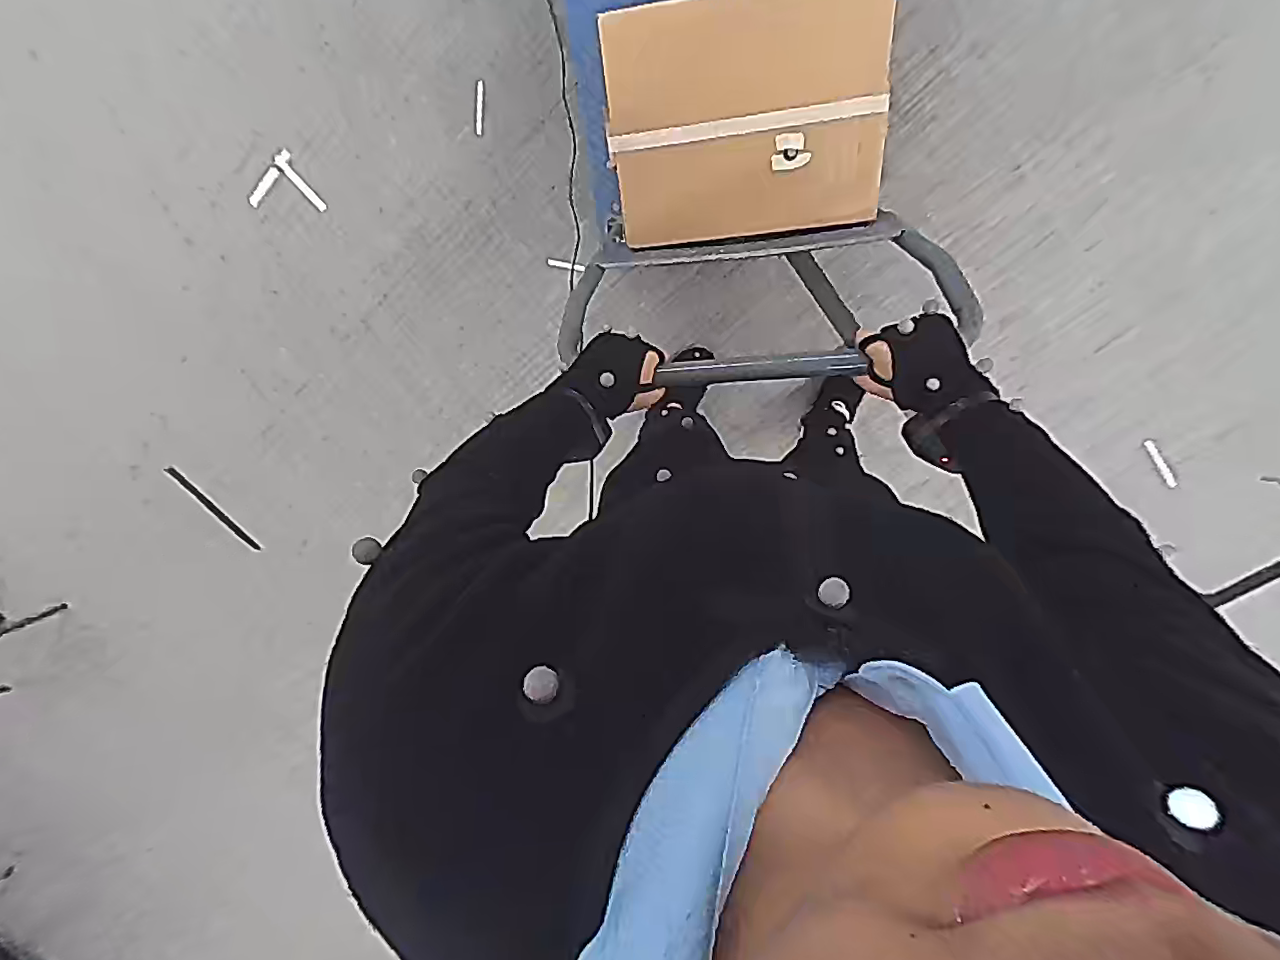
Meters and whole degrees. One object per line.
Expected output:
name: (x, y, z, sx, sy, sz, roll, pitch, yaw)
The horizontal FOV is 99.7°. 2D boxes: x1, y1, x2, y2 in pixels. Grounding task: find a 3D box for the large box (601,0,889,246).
large box: (0.172, -0.625, 0.947, 0.408, 0.320, 0.320, -4, 122, 8)
